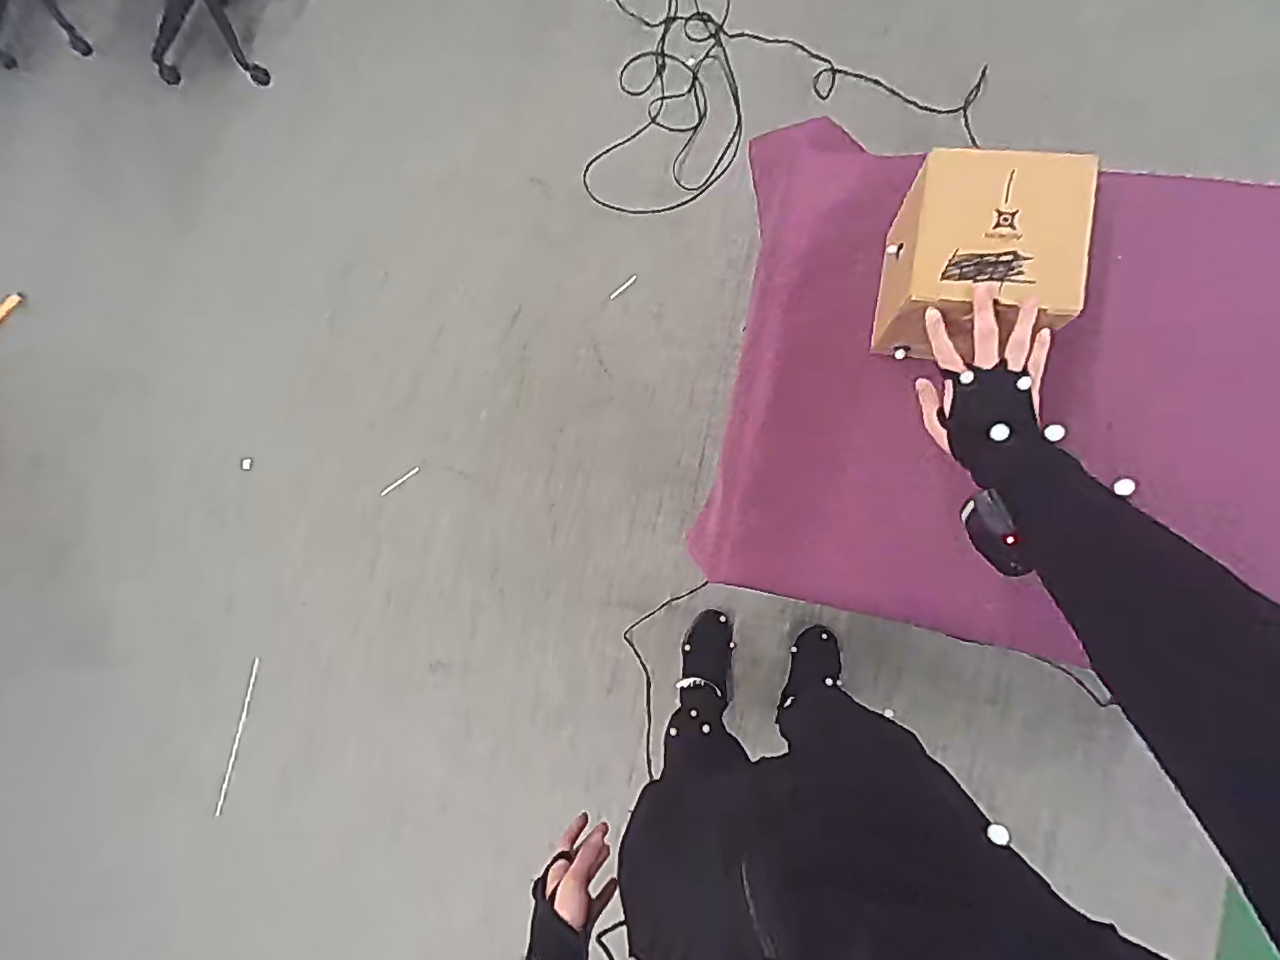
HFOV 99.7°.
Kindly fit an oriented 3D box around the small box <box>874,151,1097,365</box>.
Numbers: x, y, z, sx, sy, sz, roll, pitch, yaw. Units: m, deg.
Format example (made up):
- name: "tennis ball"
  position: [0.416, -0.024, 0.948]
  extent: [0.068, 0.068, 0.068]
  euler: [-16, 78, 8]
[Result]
- name: "small box"
  position: [0.393, -0.252, 0.647]
  extent: [0.168, 0.176, 0.179]
  euler: [10, 84, 11]
